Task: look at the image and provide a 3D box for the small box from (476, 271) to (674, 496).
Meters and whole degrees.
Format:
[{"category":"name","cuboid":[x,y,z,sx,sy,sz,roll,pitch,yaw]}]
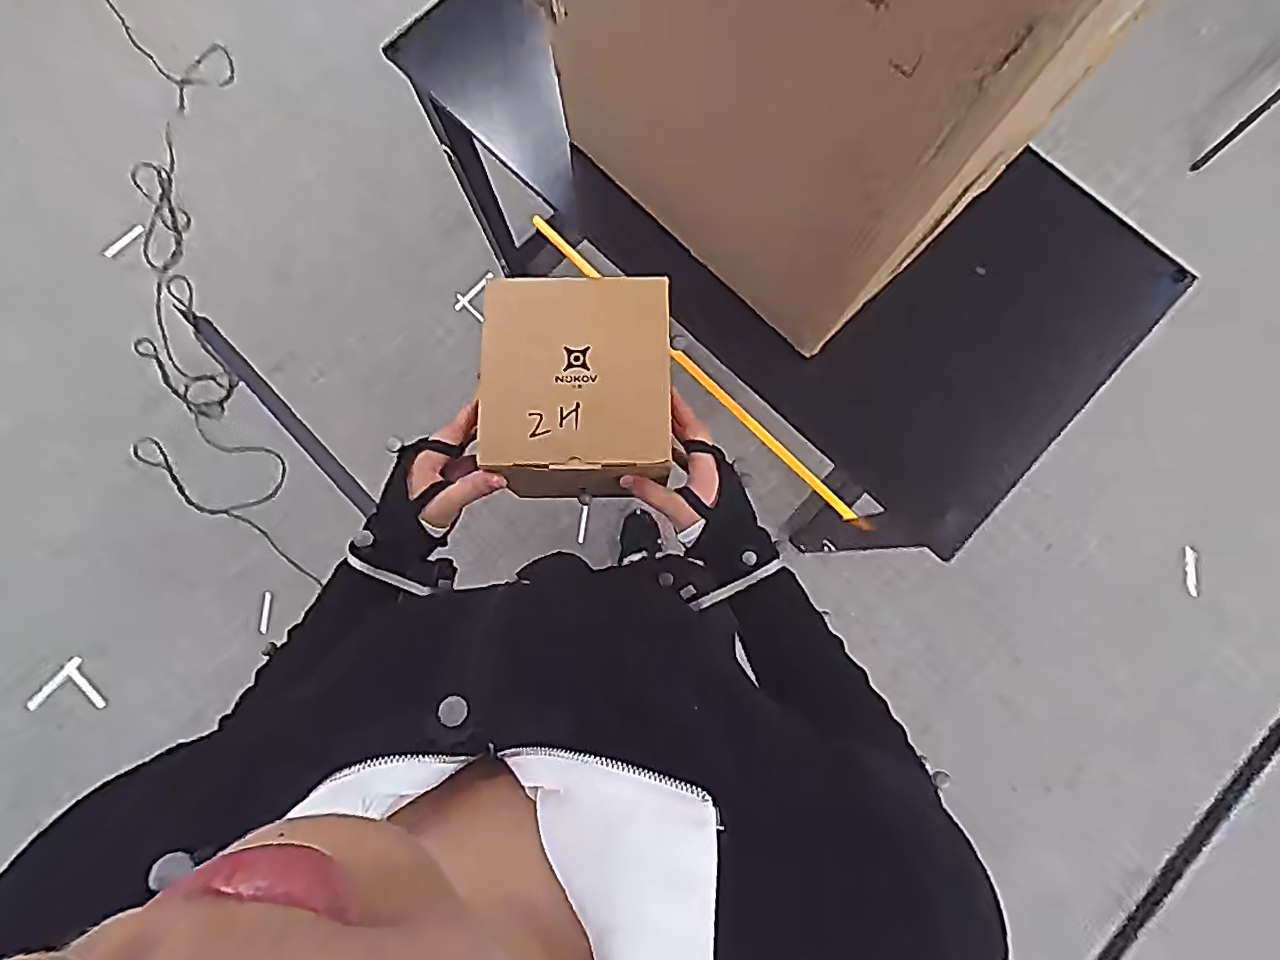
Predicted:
[{"category":"small box","cuboid":[-0.054,-0.084,0.540,0.168,0.176,0.179,0,80,0]}]
